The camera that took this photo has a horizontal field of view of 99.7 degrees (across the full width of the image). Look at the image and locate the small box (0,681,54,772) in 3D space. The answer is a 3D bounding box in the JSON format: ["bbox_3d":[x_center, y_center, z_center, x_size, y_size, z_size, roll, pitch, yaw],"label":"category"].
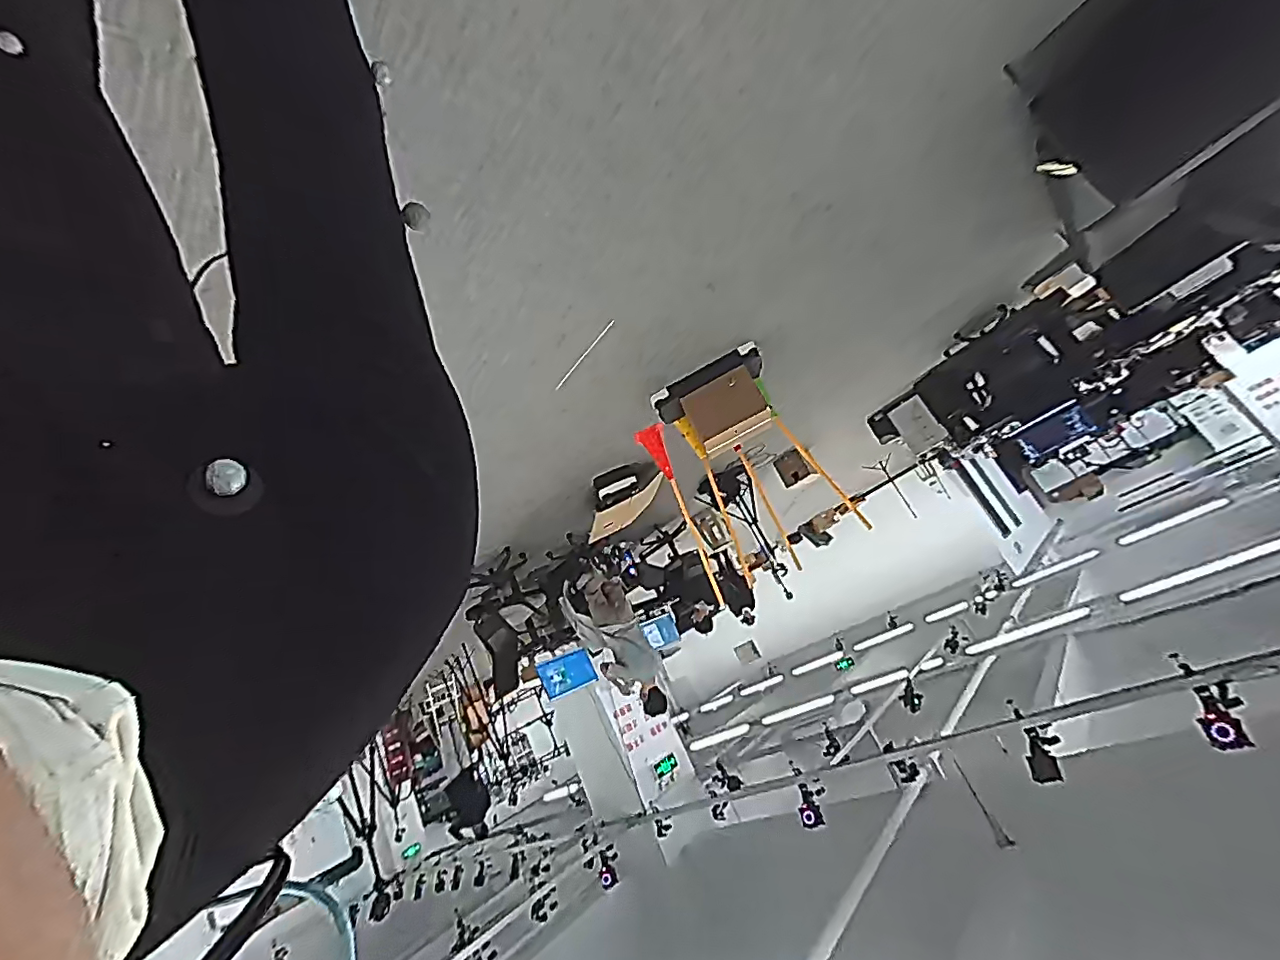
[{"bbox_3d":[-1.533,0.597,1.281,0.168,0.176,0.179,-12,159,-41],"label":"small box"}]

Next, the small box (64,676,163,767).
[{"bbox_3d":[-1.539,0.698,1.577,0.168,0.176,0.179,-36,160,28],"label":"small box"}]
